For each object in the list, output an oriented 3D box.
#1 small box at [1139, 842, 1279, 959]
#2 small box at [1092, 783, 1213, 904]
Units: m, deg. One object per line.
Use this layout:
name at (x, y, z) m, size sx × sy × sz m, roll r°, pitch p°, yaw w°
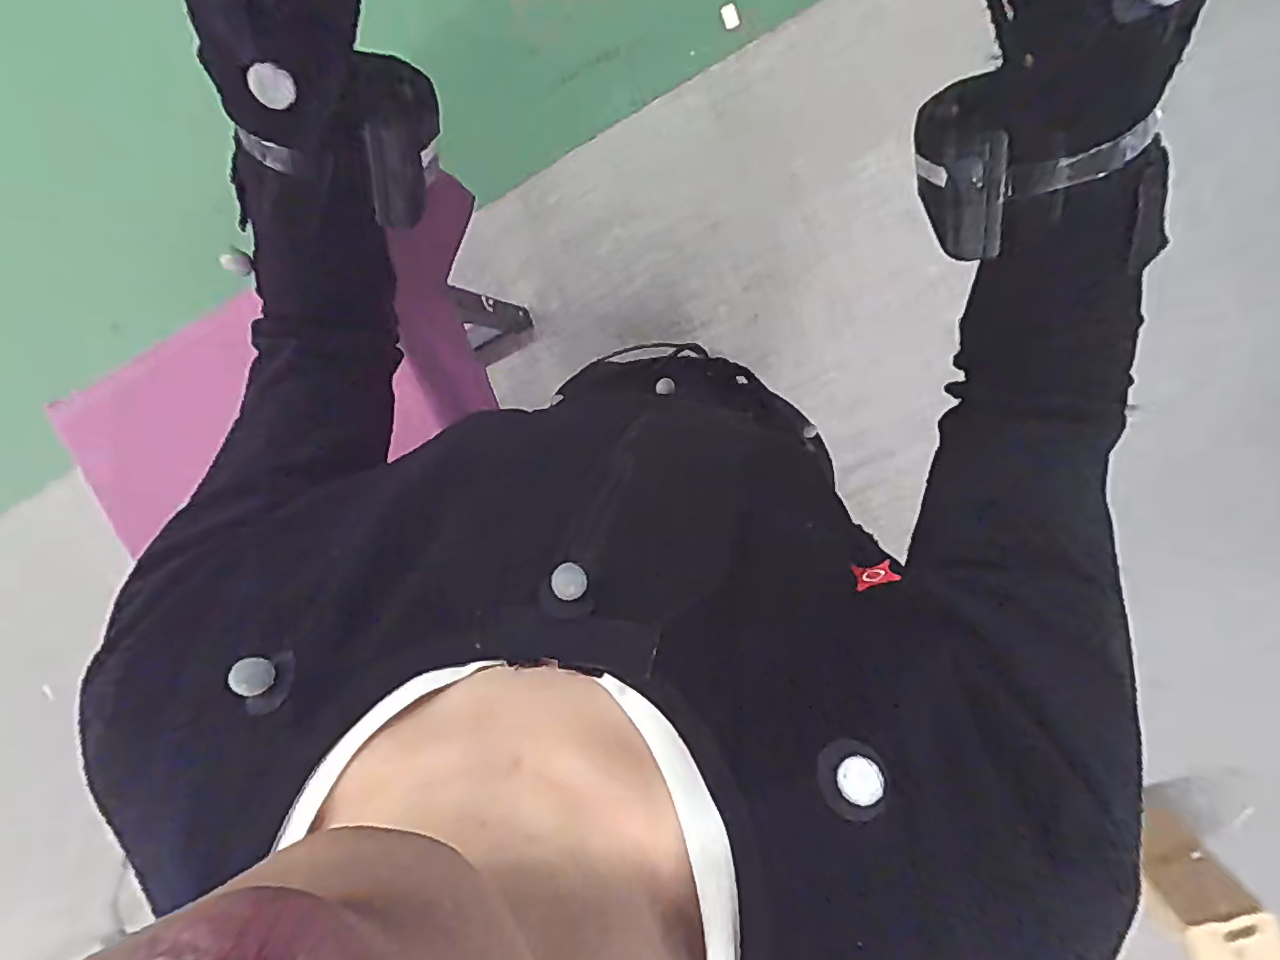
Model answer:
small box at (1.300, 0.965, 1.228) m, size 0.168 × 0.176 × 0.179 m, roll -26°, pitch 97°, yaw 13°
small box at (1.323, 0.927, 1.386) m, size 0.168 × 0.176 × 0.179 m, roll -25°, pitch 96°, yaw 12°
